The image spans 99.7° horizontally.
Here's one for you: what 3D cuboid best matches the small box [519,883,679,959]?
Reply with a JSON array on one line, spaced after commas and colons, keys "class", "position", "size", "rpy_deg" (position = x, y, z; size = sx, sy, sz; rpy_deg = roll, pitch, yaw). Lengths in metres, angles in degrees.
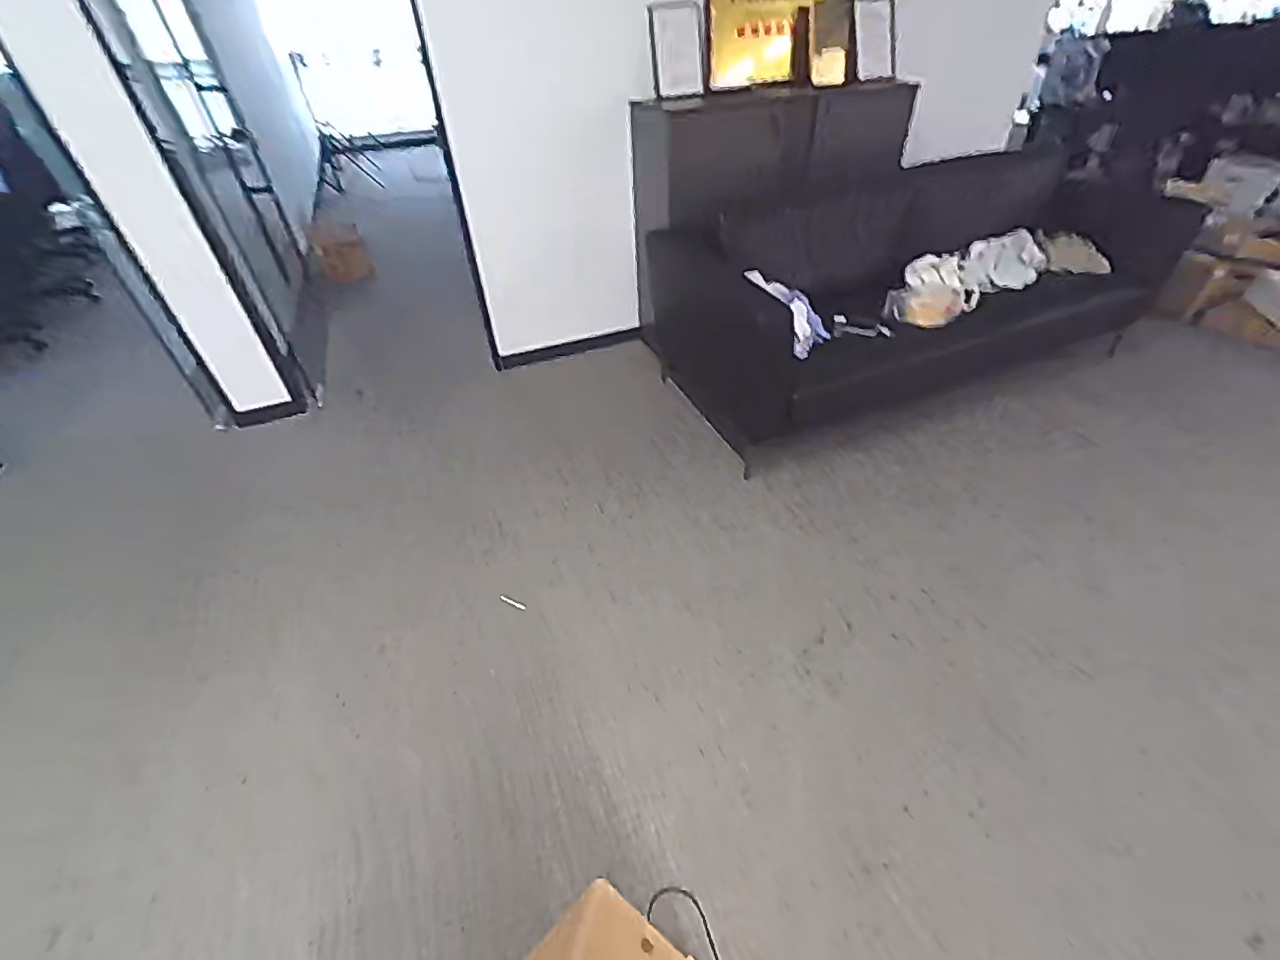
[{"class": "small box", "position": [-0.043, 0.477, 0.419], "size": [0.168, 0.176, 0.179], "rpy_deg": [39, 95, 6]}]
